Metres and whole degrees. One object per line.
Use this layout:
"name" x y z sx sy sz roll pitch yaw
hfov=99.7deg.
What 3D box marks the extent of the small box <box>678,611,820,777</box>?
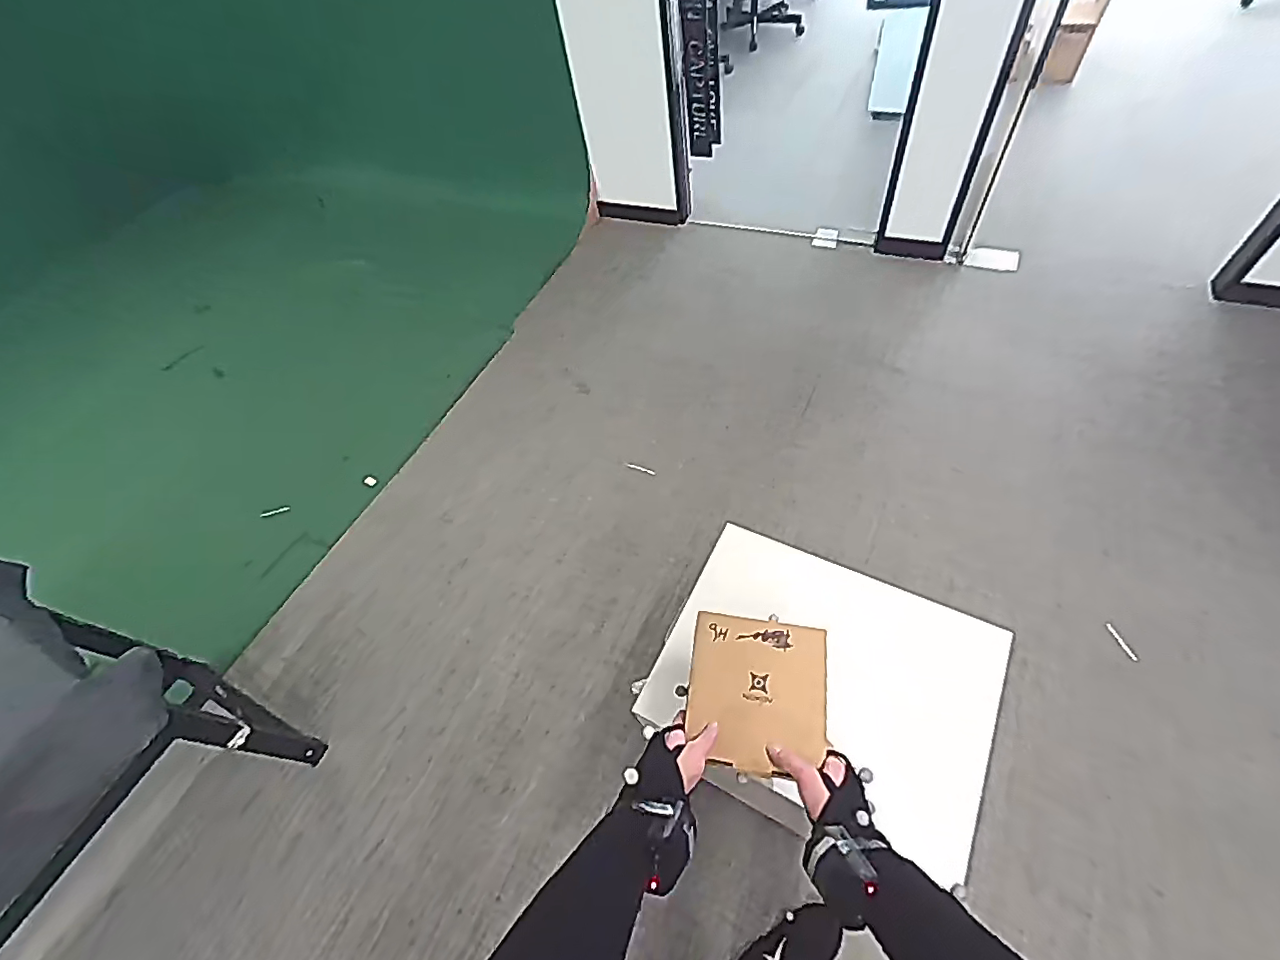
"small box" 0.144 0.294 0.734 0.168 0.176 0.179 5 61 7
